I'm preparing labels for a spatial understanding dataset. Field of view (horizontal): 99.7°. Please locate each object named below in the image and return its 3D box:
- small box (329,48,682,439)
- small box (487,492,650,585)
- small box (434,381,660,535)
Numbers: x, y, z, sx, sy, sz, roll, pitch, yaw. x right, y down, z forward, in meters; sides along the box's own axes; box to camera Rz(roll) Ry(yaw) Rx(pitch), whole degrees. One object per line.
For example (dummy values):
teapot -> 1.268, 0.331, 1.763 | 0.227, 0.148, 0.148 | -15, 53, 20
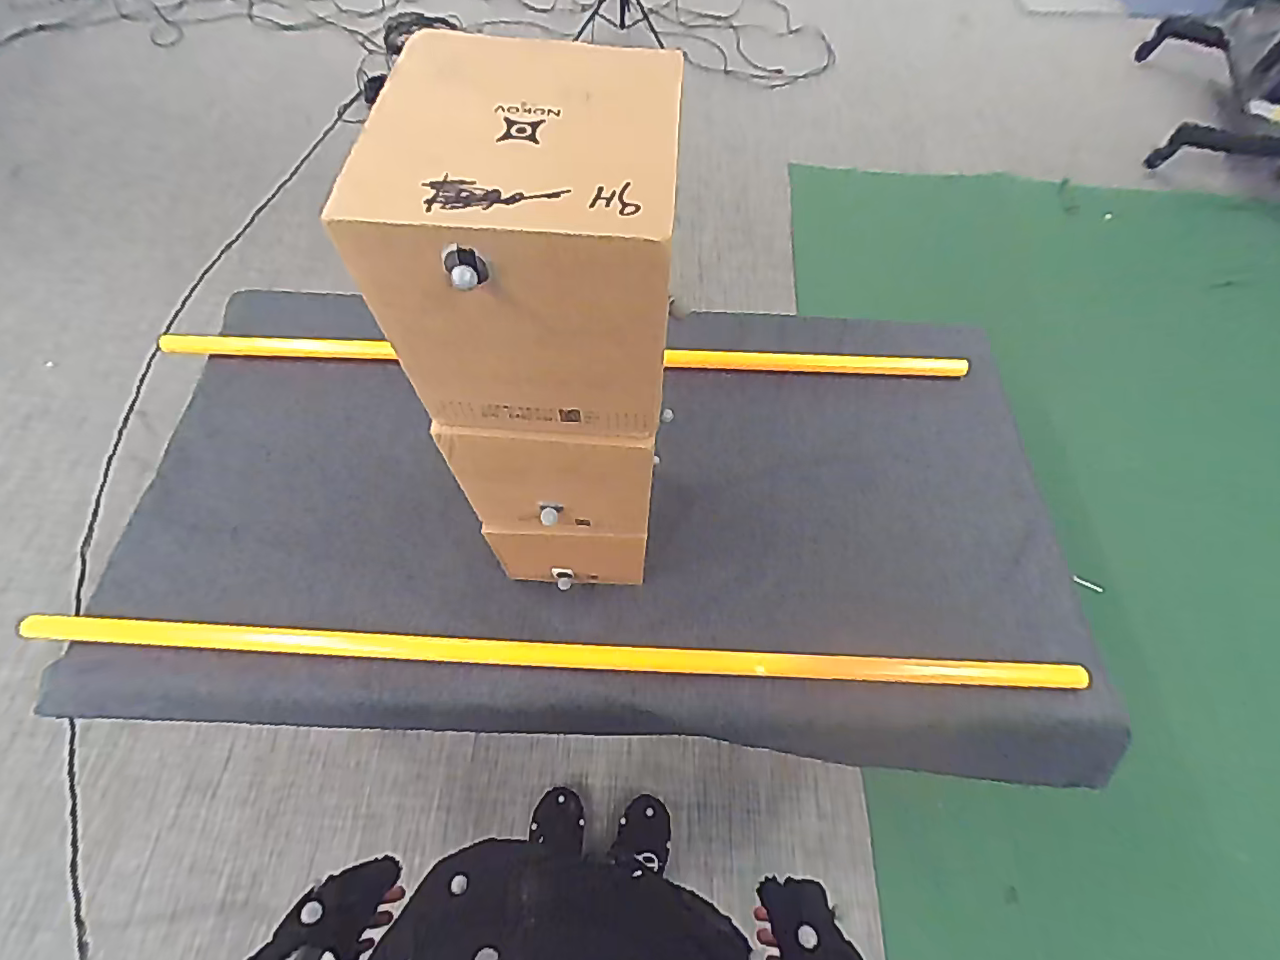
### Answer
small box -> -0.063, -0.150, 0.366 | 0.168, 0.176, 0.179 | 4, 61, 2
small box -> -0.072, 0.016, 0.649 | 0.168, 0.176, 0.179 | 1, 63, 0
small box -> -0.067, -0.066, 0.506 | 0.168, 0.176, 0.179 | 4, 62, 2
